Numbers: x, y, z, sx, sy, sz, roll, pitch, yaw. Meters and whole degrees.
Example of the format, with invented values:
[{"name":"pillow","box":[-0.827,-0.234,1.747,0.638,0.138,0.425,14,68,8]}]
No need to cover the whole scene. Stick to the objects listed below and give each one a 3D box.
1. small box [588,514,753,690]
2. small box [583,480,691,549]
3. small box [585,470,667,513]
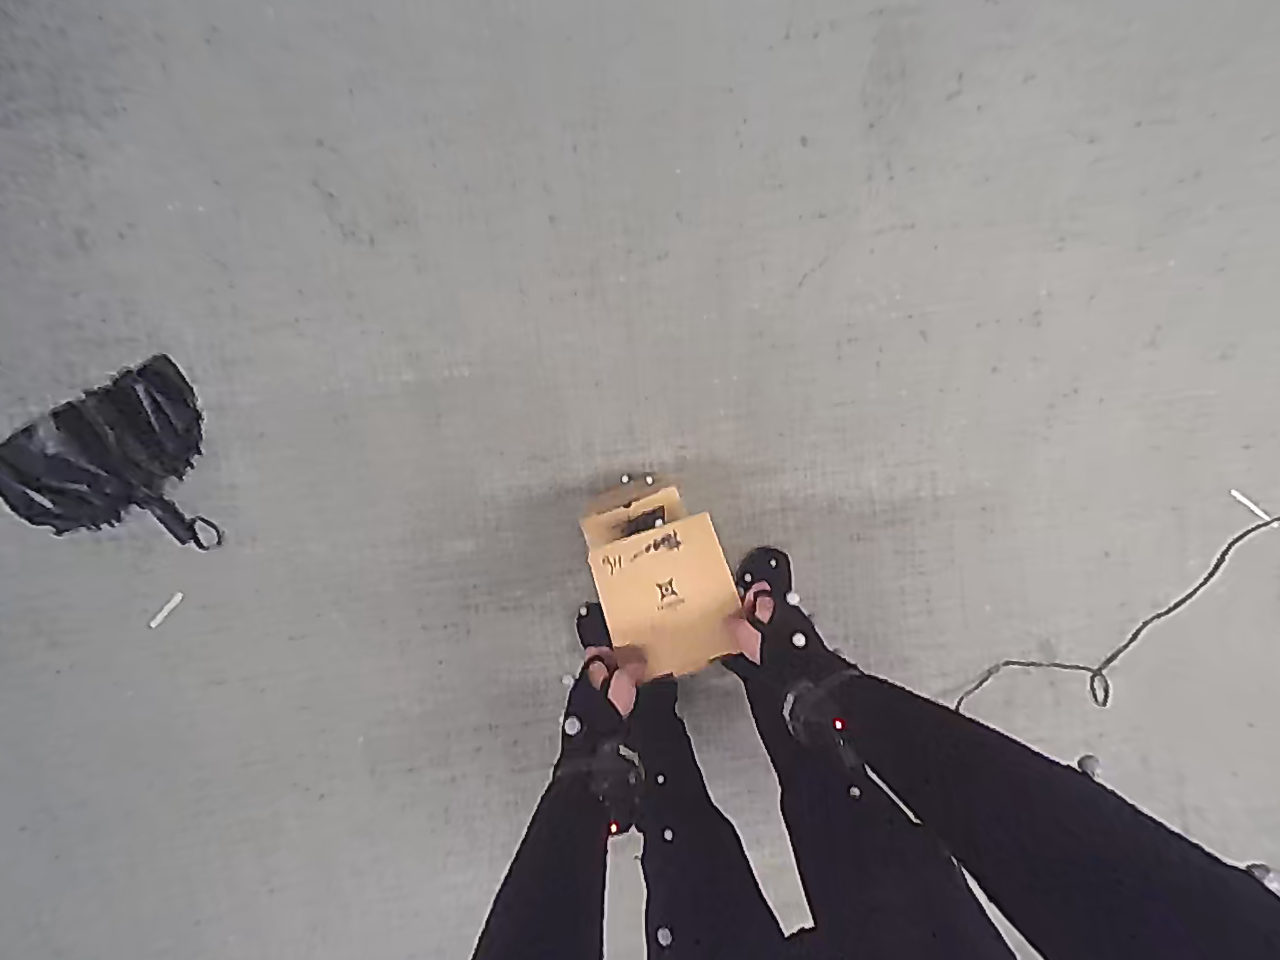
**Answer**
[{"name":"small box","box":[0.045,0.166,0.735,0.168,0.176,0.179,-19,72,3]},{"name":"small box","box":[0.010,0.105,0.938,0.168,0.176,0.179,-21,96,1]},{"name":"small box","box":[0.001,0.090,1.101,0.168,0.176,0.179,-22,94,0]}]
